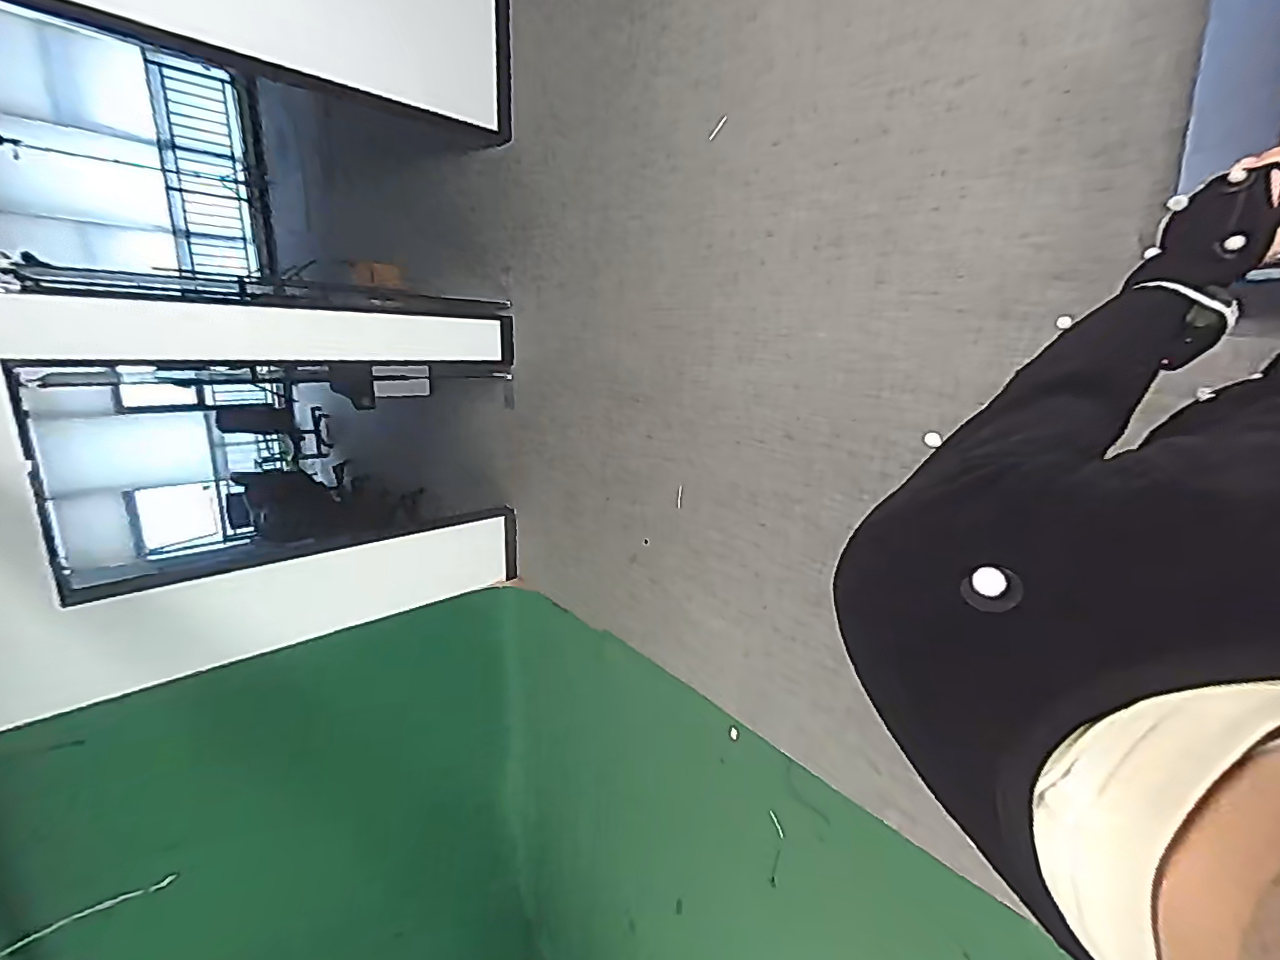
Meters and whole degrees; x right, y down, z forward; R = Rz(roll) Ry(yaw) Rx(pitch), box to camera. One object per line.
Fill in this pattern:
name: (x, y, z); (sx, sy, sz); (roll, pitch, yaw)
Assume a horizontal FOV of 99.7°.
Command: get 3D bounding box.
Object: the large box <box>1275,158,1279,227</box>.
large box: (1.090, -0.579, 0.692); (0.320, 0.320, 0.408); (13, 106, 47)
